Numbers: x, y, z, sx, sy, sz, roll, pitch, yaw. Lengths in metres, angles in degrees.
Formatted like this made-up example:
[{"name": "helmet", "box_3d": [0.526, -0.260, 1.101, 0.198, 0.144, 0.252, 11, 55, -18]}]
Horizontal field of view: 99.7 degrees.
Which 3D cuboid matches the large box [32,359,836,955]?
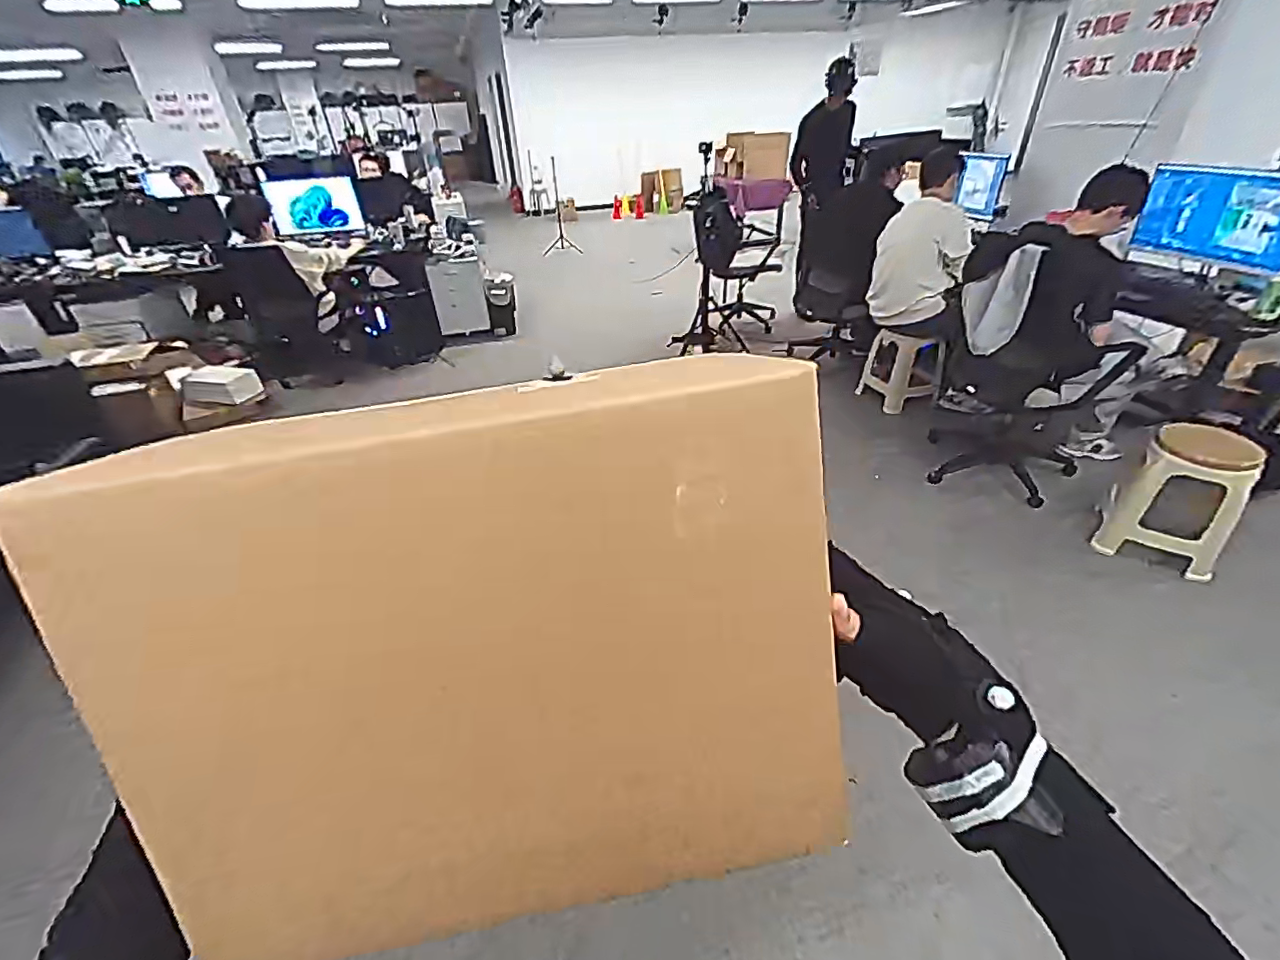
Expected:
[{"name": "large box", "box_3d": [-0.097, 0.086, 0.453, 0.408, 0.320, 0.320, -9, 15, -4]}]
